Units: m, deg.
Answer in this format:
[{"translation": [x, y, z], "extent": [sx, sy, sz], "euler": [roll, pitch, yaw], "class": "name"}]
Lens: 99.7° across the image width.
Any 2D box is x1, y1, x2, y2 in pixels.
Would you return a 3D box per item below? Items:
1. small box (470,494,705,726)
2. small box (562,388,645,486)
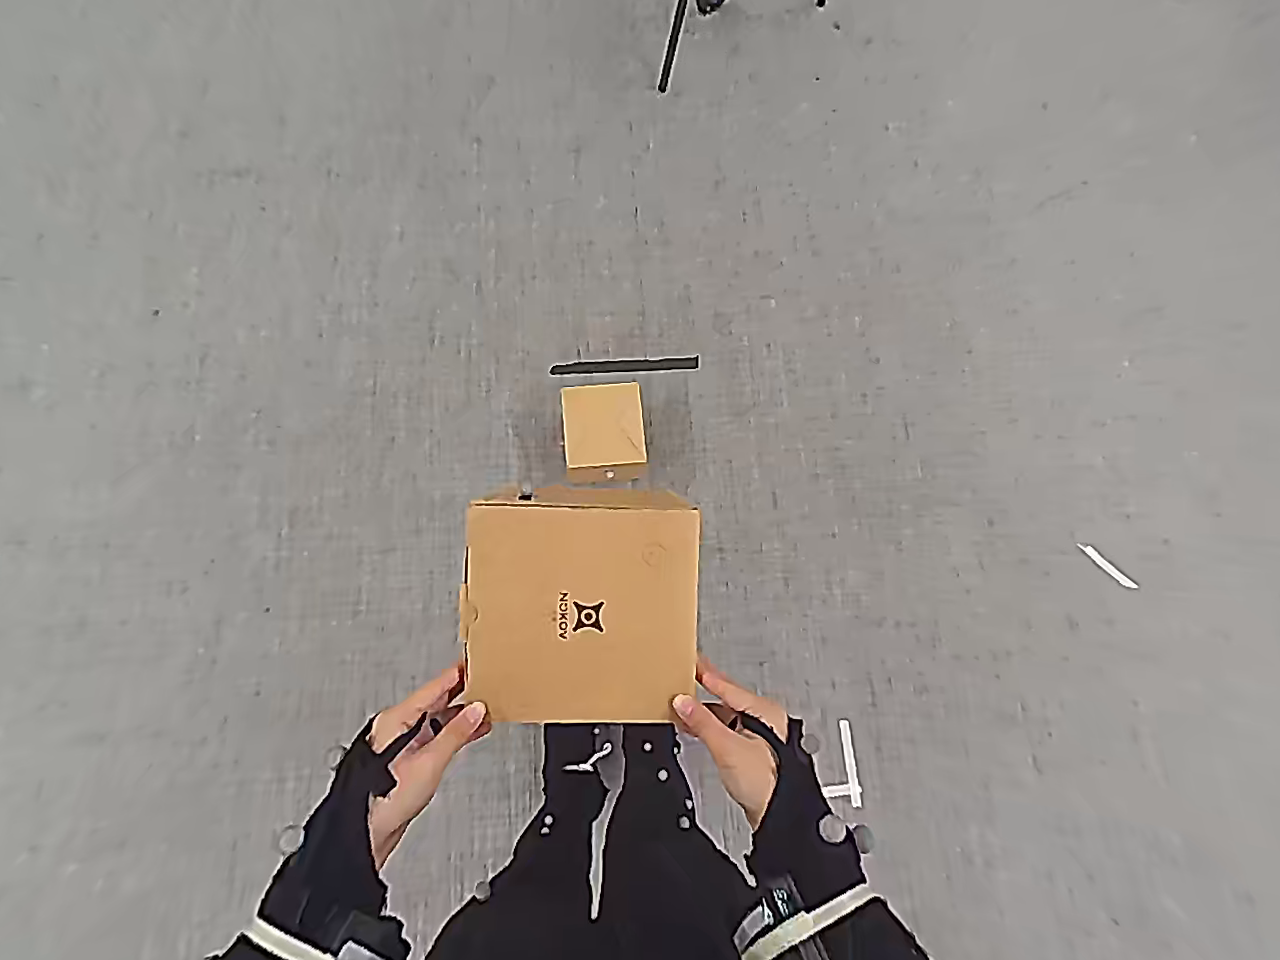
[{"translation": [-0.044, 0.101, 0.489], "extent": [0.179, 0.176, 0.168], "euler": [1, 93, -3], "class": "small box"}, {"translation": [-0.082, -0.093, 1.200], "extent": [0.168, 0.176, 0.179], "euler": [-5, 78, -4], "class": "small box"}]
